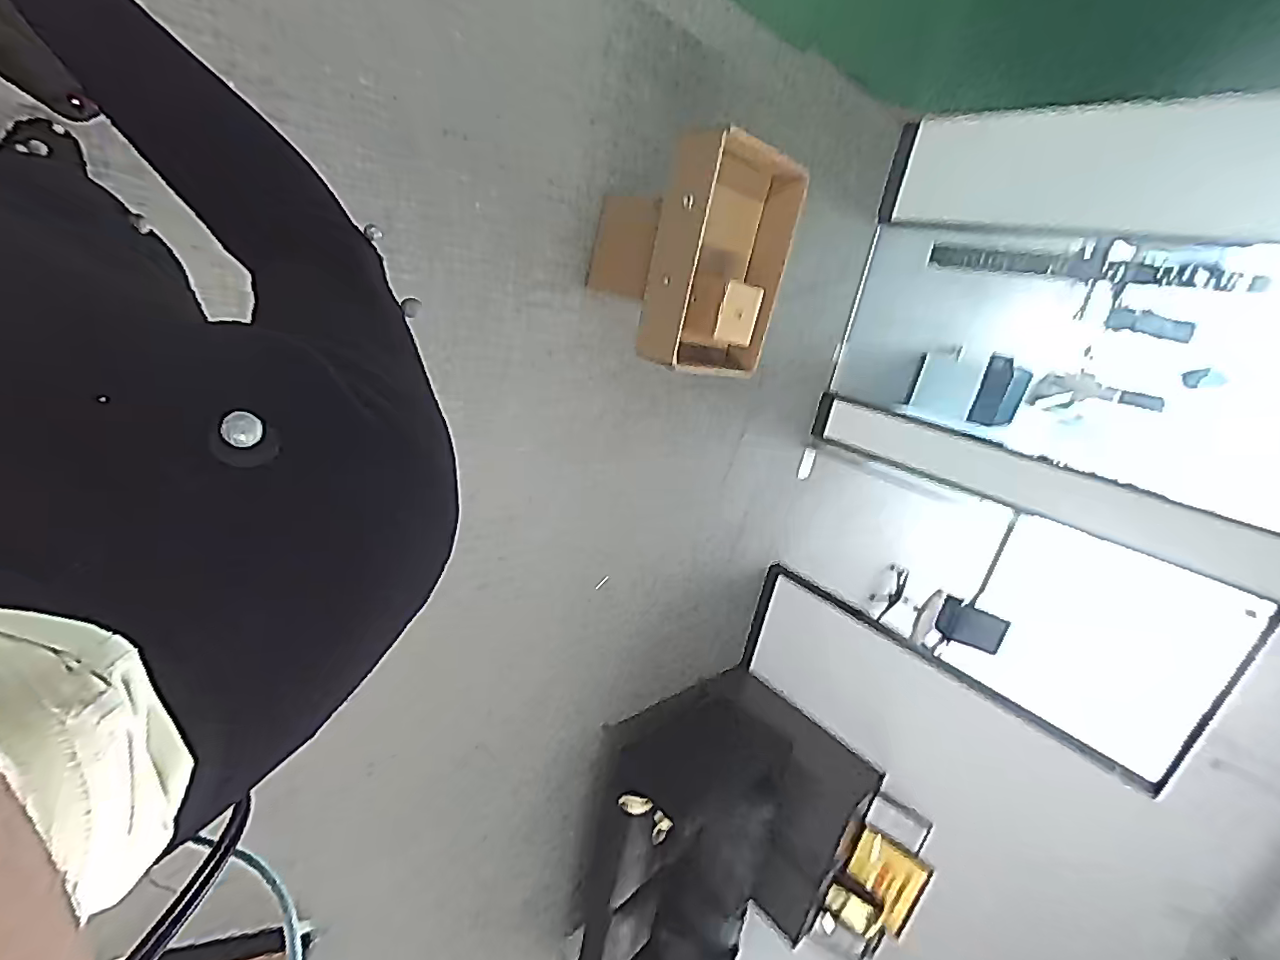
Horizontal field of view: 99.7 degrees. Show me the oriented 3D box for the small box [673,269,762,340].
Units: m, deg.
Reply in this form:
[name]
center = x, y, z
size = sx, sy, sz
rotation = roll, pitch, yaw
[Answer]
[small box]
center = 0.232, -0.533, 1.640
size = 0.179, 0.176, 0.168
rotation = -5, 117, -43
